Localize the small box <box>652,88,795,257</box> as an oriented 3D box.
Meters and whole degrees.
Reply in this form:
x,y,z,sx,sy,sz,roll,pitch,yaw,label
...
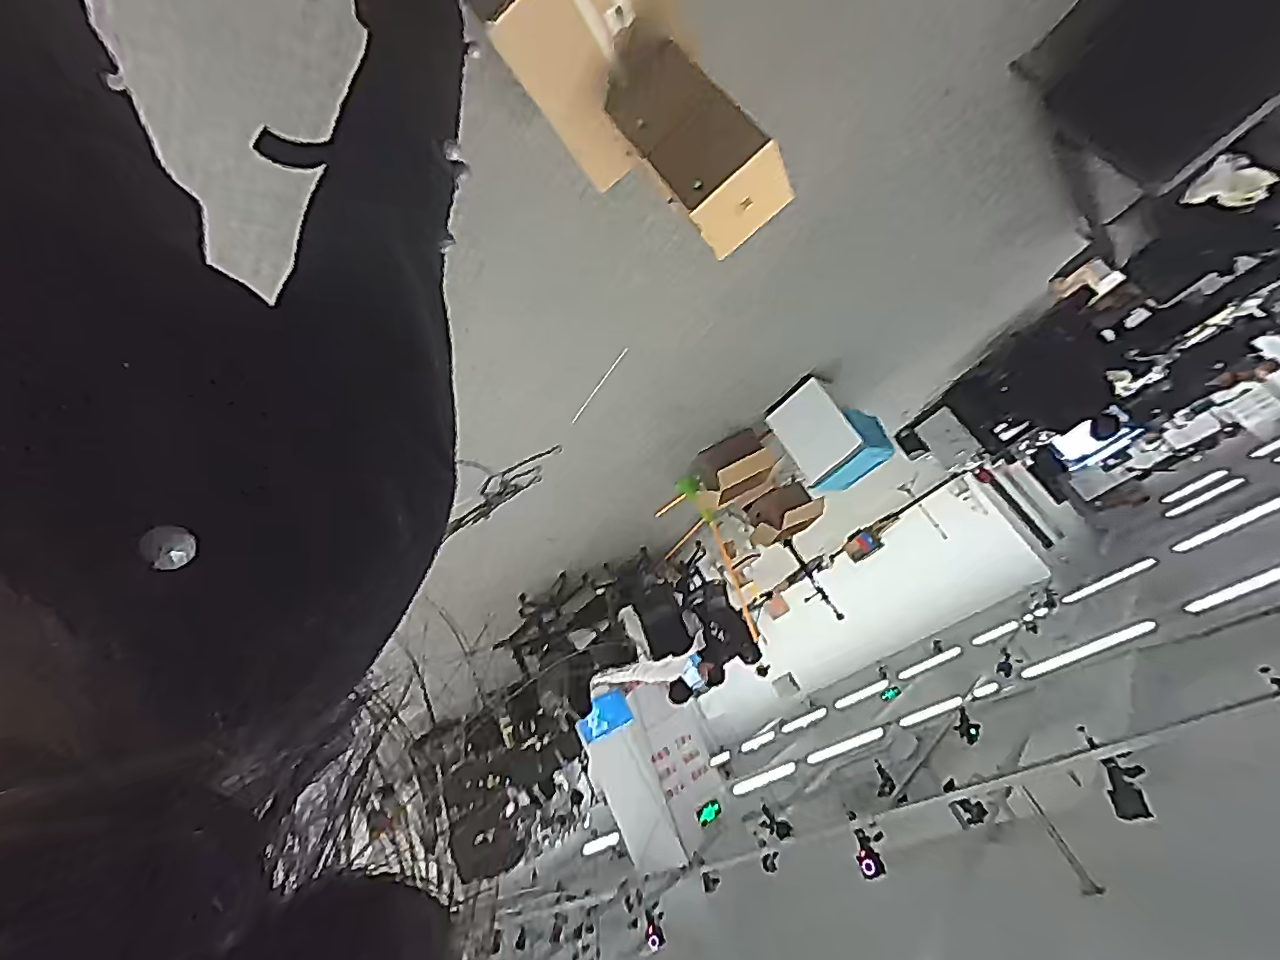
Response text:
x,y,z,sx,sy,sz,roll,pitch,yaw,label
0.154,-0.564,1.000,0.179,0.176,0.168,-37,157,17,small box
